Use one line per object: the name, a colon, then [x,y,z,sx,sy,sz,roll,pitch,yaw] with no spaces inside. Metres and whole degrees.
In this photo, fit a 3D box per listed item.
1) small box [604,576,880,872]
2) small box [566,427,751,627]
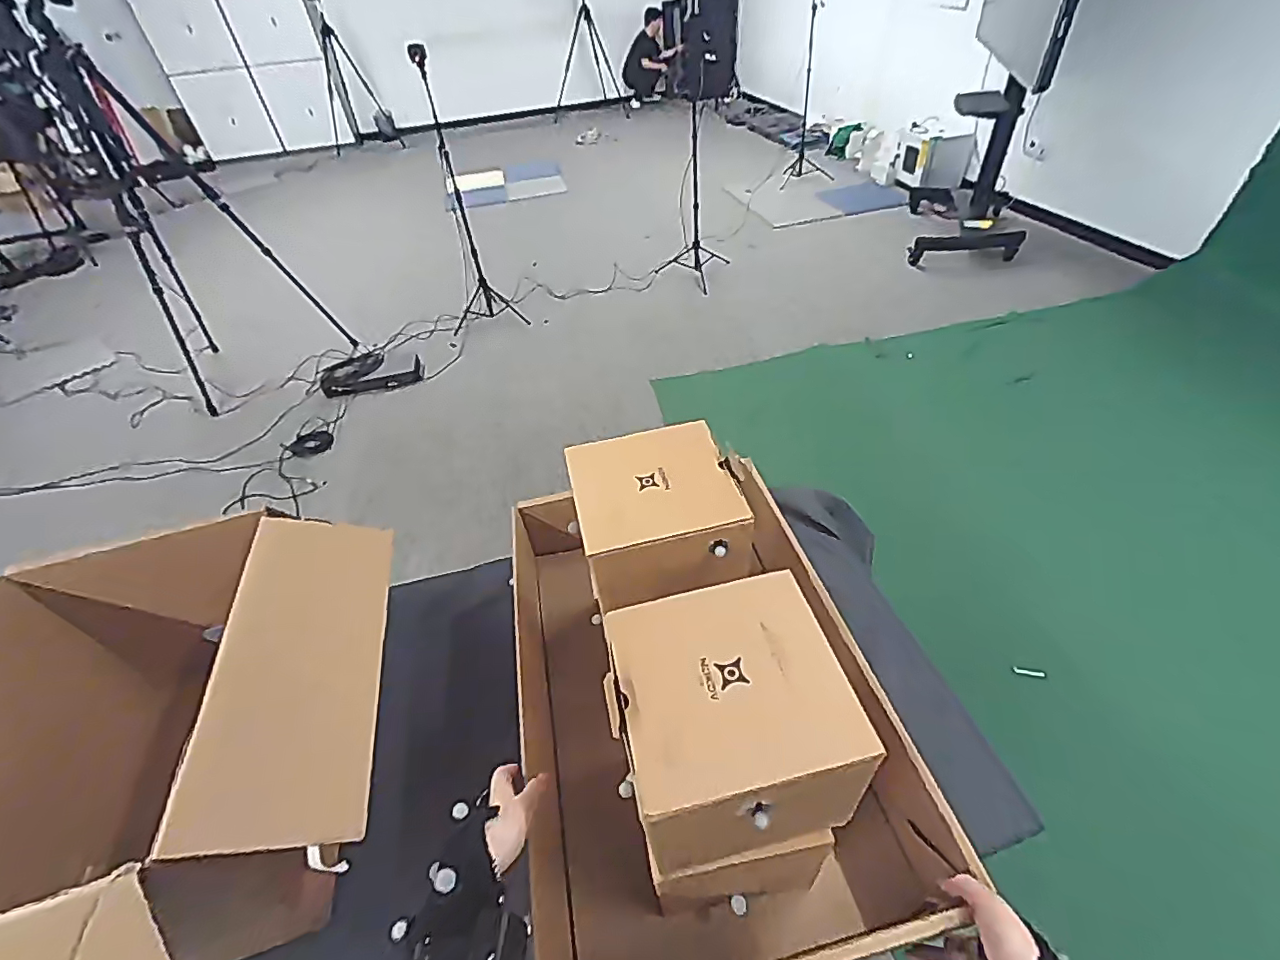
small box: [0.076,0.216,0.478,0.179,0.176,0.168,-12,44,-5]
small box: [0.020,0.065,0.647,0.179,0.176,0.168,-12,46,-6]
